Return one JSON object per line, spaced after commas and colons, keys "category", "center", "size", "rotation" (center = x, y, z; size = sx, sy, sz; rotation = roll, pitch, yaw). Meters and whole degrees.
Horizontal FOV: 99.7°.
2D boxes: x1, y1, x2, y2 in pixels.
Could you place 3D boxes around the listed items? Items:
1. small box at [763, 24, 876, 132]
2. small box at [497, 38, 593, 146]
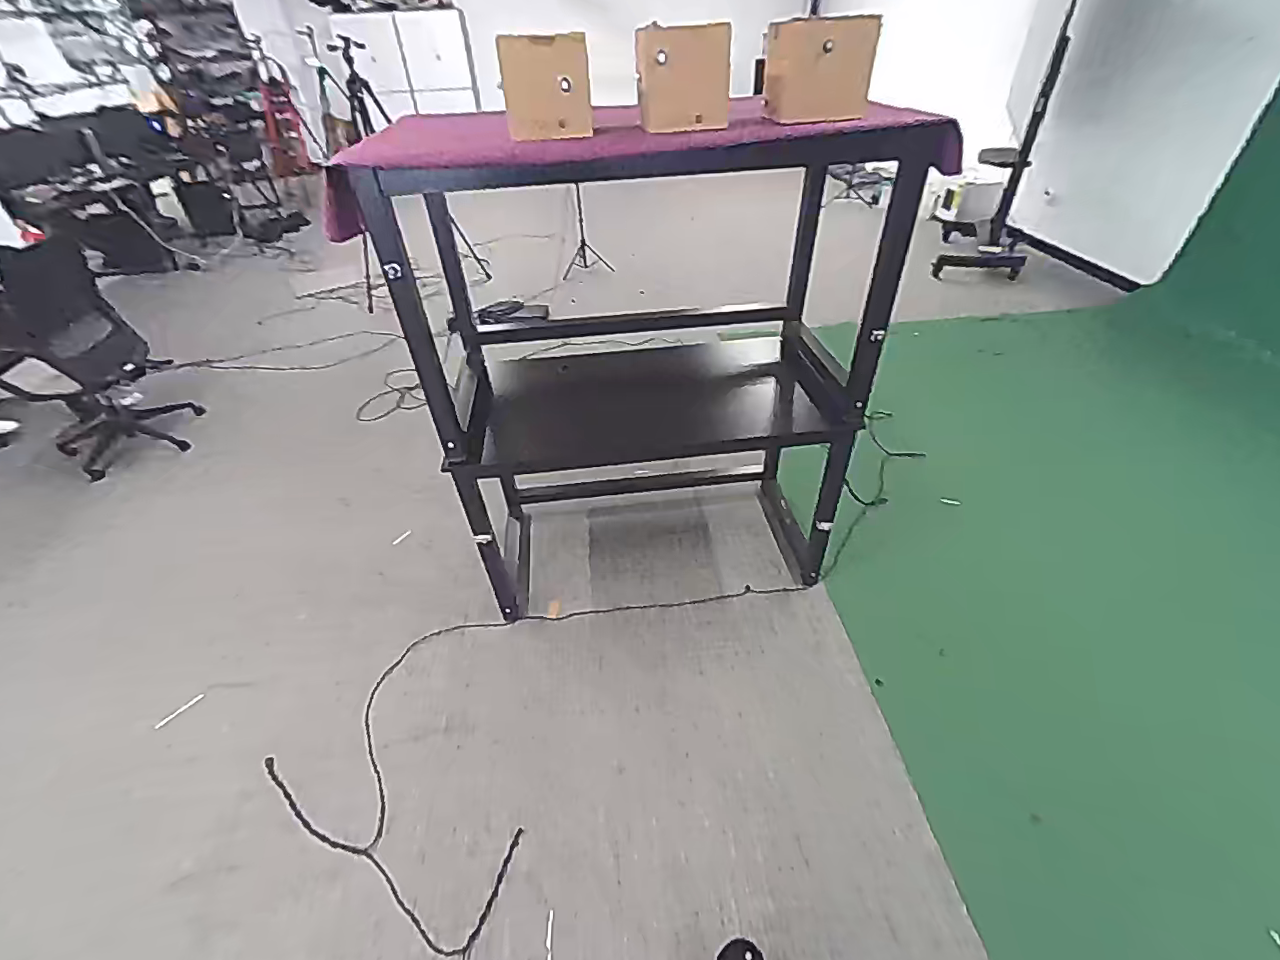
{"category": "small box", "center": [0.364, -0.843, 1.139], "size": [0.179, 0.176, 0.168], "rotation": [-5, 39, -3]}
{"category": "small box", "center": [-0.185, -0.787, 1.102], "size": [0.168, 0.176, 0.179], "rotation": [-4, 39, -3]}
